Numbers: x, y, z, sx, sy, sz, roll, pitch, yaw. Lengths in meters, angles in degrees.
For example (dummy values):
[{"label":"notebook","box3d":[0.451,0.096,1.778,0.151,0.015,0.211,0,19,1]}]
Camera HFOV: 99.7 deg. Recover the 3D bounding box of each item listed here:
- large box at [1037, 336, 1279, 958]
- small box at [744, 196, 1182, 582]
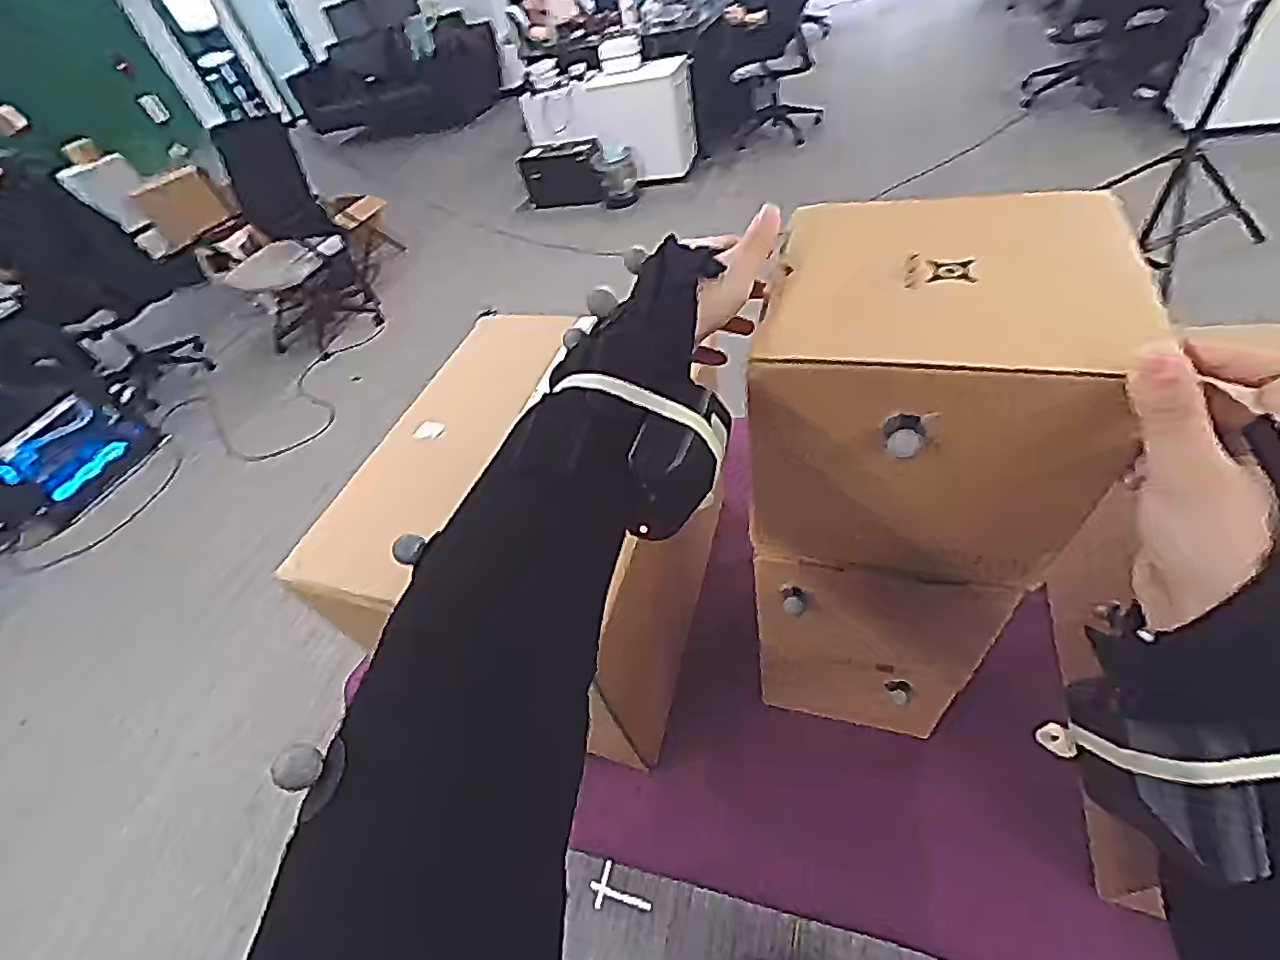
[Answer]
[{"label":"large box","box3d":[0.564,0.134,0.425,0.320,0.320,0.408,6,49,20]},{"label":"small box","box3d":[0.172,-0.054,0.344,0.179,0.176,0.168,7,51,21]}]
